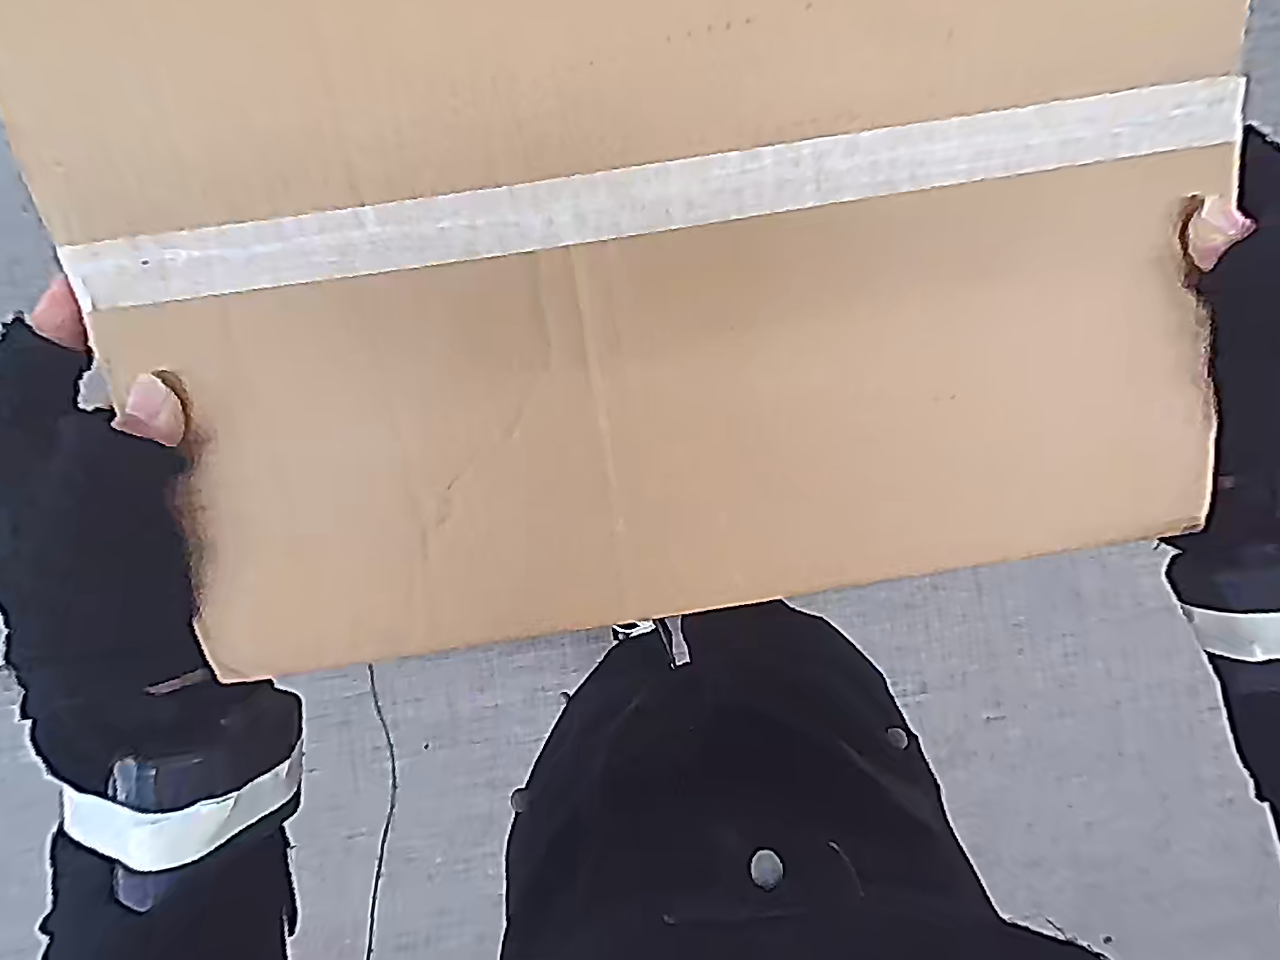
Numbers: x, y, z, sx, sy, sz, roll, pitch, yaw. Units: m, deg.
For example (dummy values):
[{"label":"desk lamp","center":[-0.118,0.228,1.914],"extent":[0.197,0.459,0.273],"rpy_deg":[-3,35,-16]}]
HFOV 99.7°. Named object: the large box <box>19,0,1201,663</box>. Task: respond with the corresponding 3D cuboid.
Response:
[{"label":"large box","center":[0.002,-0.132,0.346],"extent":[0.408,0.320,0.320],"rpy_deg":[-8,102,-1]}]
